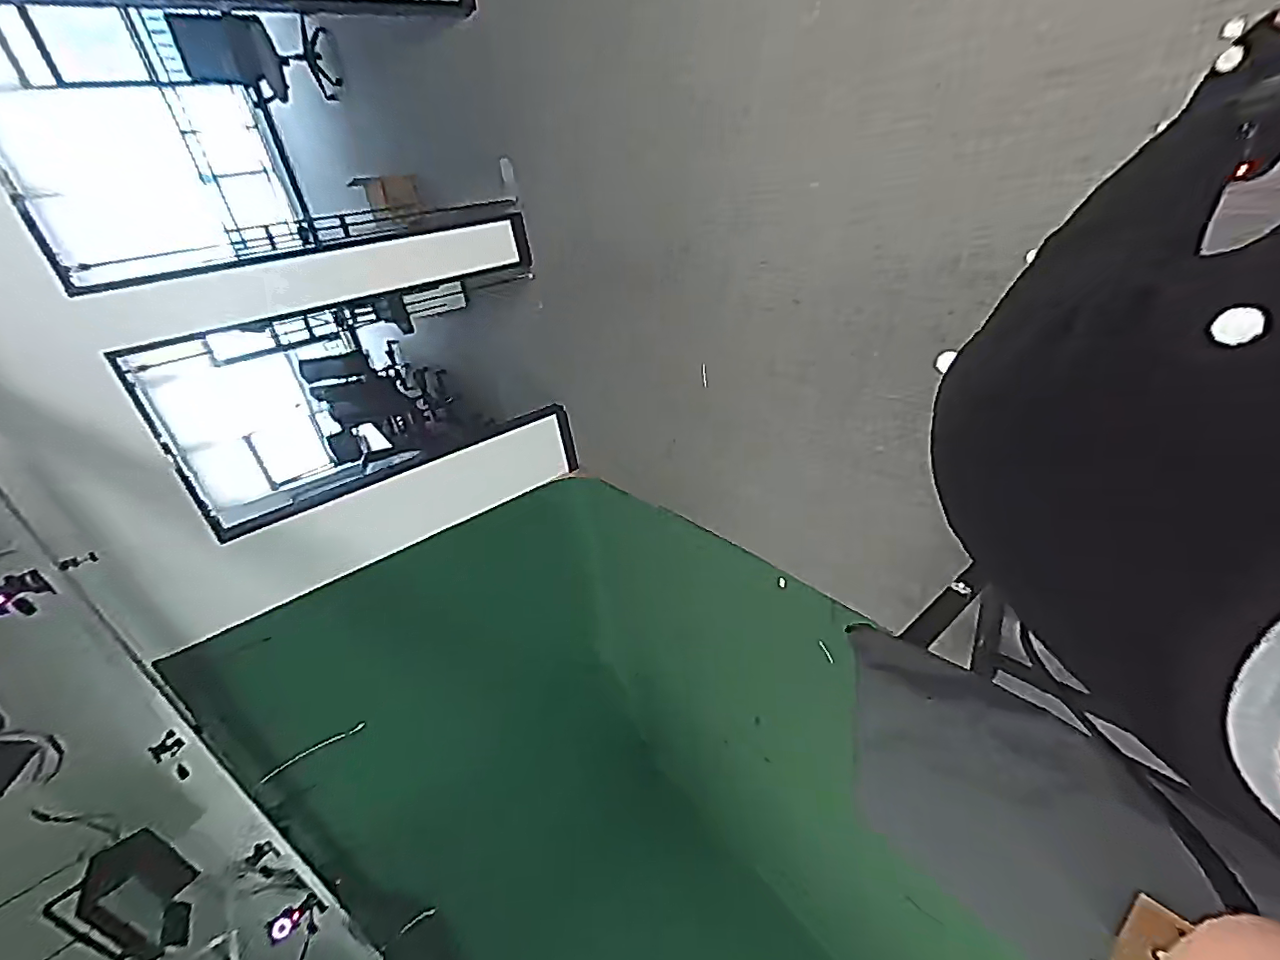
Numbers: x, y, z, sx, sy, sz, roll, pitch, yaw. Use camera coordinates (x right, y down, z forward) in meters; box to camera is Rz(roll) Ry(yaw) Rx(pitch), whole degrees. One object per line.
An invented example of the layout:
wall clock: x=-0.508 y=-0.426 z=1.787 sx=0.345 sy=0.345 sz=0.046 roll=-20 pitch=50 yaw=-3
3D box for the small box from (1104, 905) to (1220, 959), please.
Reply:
small box: x=0.856 y=0.851 z=0.873 sx=0.168 sy=0.176 sz=0.179 roll=26 pitch=134 yaw=49
